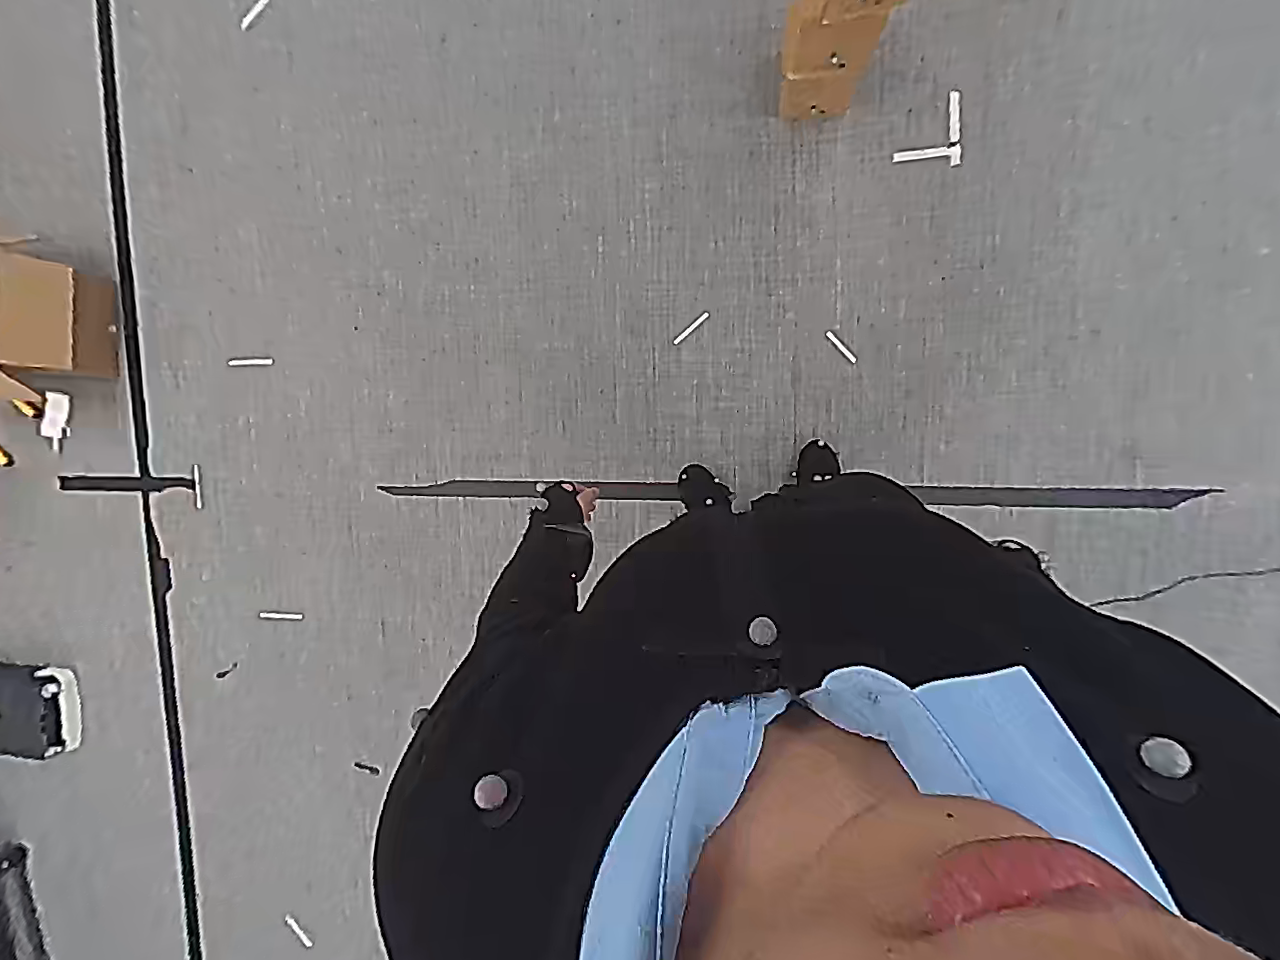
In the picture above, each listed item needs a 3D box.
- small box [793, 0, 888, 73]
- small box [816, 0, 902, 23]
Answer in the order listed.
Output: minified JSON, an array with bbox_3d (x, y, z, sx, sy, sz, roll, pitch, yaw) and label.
[{"bbox_3d":[0.417,-0.998,1.131,0.168,0.176,0.179,4,95,9],"label":"small box"},{"bbox_3d":[0.406,-0.986,0.968,0.168,0.176,0.179,-8,94,9],"label":"small box"}]
